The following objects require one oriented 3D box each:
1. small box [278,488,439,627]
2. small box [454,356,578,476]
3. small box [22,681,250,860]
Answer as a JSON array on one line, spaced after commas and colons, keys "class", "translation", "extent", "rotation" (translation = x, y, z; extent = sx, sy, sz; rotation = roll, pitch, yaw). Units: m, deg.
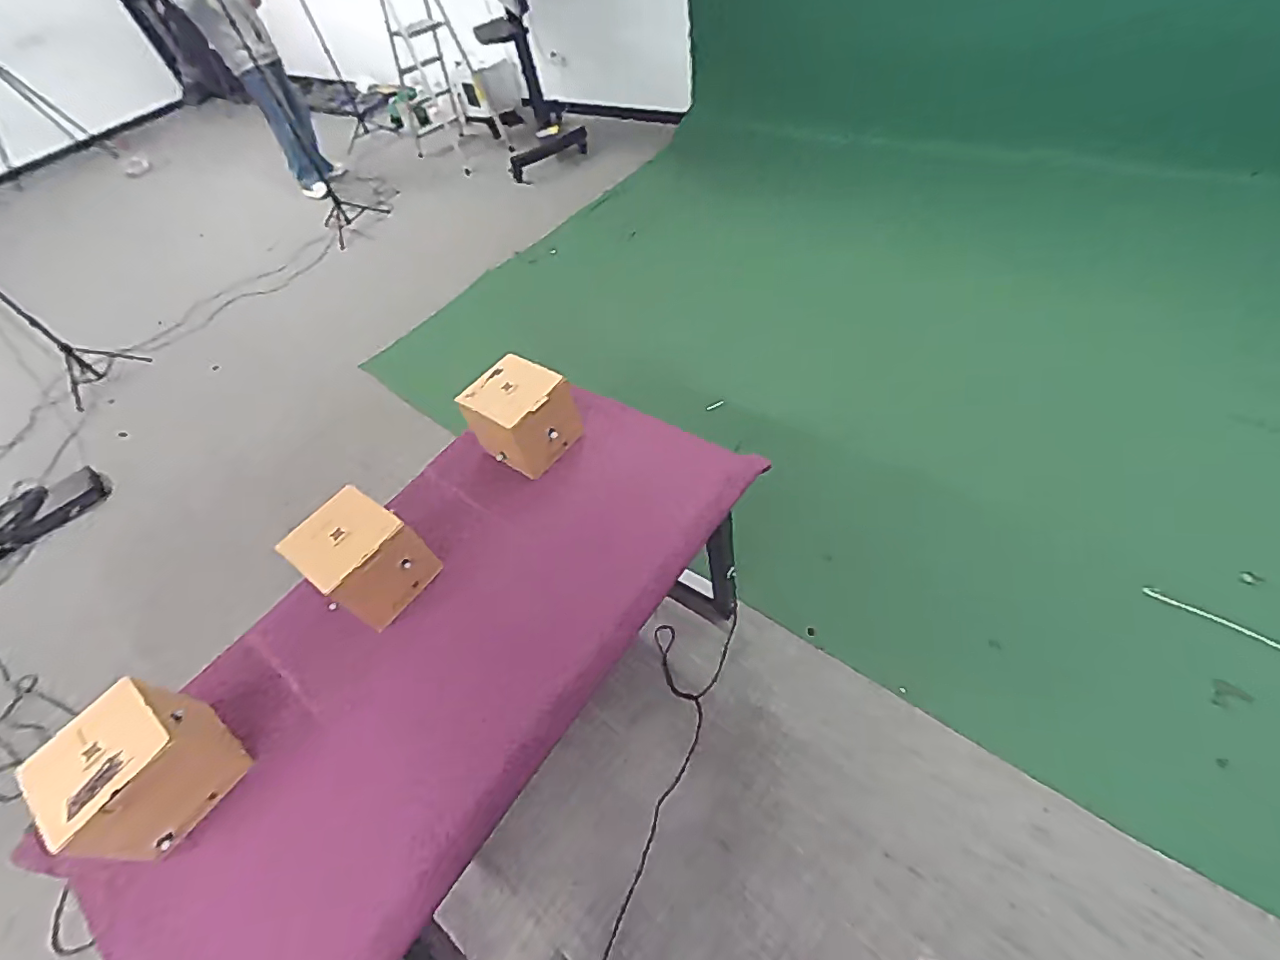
[{"class": "small box", "translation": [-0.515, 0.151, 1.013], "extent": [0.179, 0.176, 0.168], "rotation": [26, 61, 28]}, {"class": "small box", "translation": [-0.259, -0.134, 1.177], "extent": [0.179, 0.176, 0.168], "rotation": [27, 63, 28]}, {"class": "small box", "translation": [-0.758, 0.447, 0.831], "extent": [0.179, 0.176, 0.168], "rotation": [24, 60, 28]}]
